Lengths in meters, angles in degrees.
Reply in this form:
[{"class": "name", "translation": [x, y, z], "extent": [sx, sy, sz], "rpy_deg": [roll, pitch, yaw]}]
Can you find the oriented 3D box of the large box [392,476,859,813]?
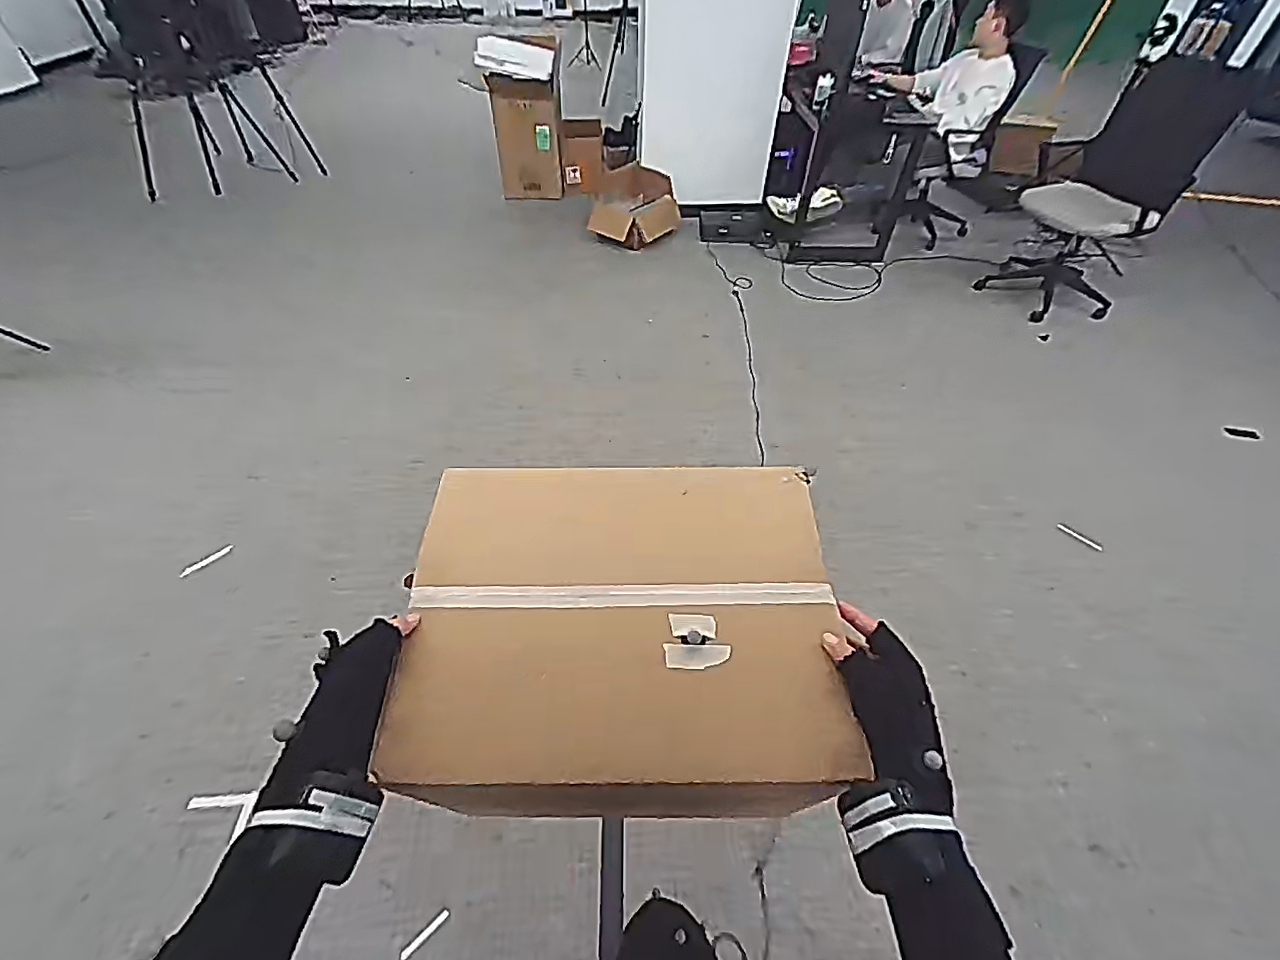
[{"class": "large box", "translation": [-0.015, 0.208, 0.659], "extent": [0.408, 0.320, 0.320], "rpy_deg": [0, 54, 0]}]
